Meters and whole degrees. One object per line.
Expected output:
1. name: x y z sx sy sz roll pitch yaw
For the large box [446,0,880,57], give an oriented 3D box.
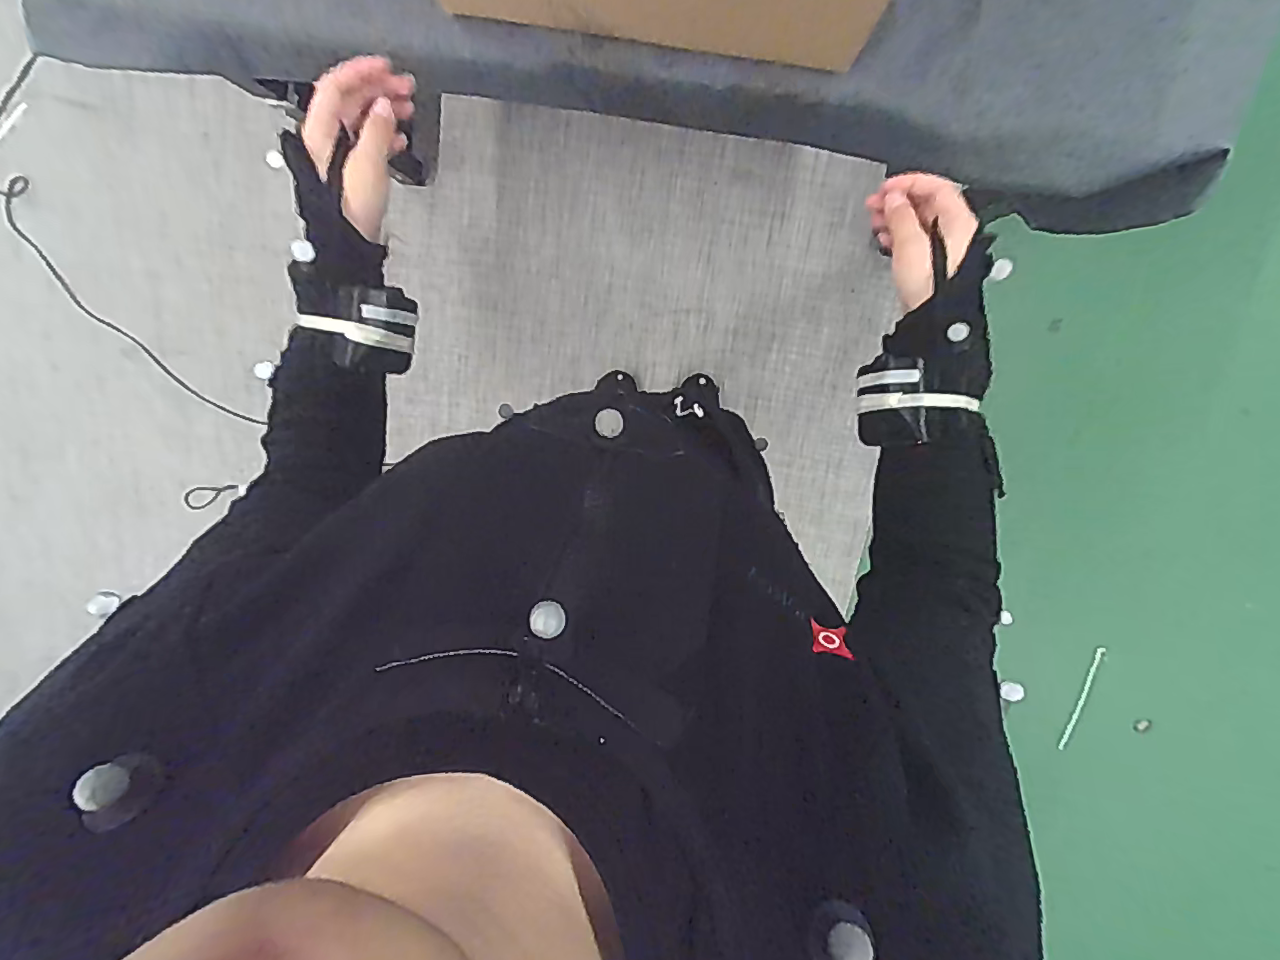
1. large box: 0.019 -0.551 0.352 0.408 0.320 0.320 9 103 1
